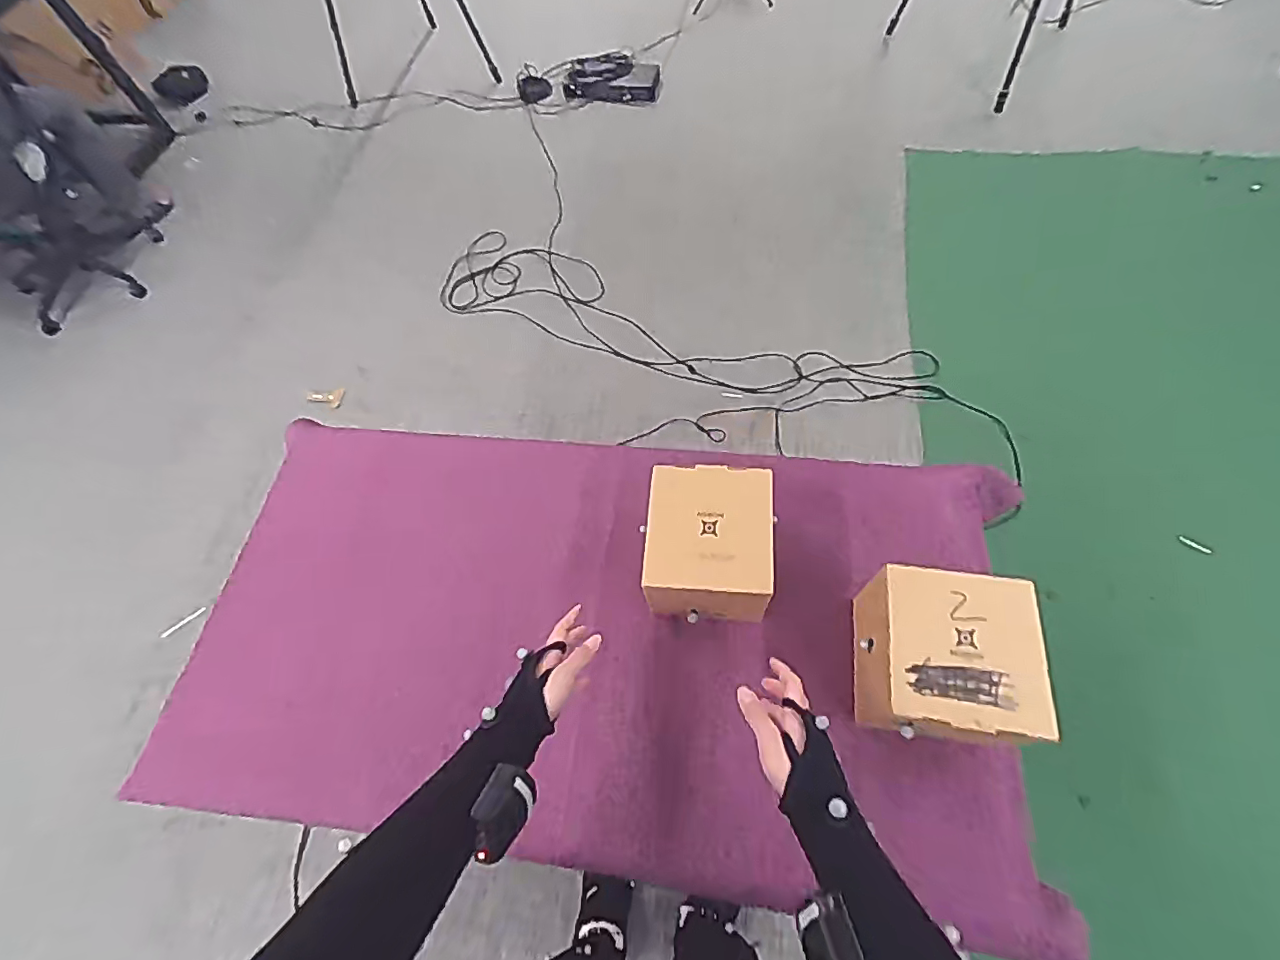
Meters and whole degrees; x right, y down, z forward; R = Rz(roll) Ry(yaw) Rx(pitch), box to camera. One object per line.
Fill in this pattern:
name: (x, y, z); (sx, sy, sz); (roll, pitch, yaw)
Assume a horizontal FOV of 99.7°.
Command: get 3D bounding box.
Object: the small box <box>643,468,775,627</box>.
small box: (0.099, 0.101, 0.780); (0.168, 0.176, 0.179); (3, 64, 8)
